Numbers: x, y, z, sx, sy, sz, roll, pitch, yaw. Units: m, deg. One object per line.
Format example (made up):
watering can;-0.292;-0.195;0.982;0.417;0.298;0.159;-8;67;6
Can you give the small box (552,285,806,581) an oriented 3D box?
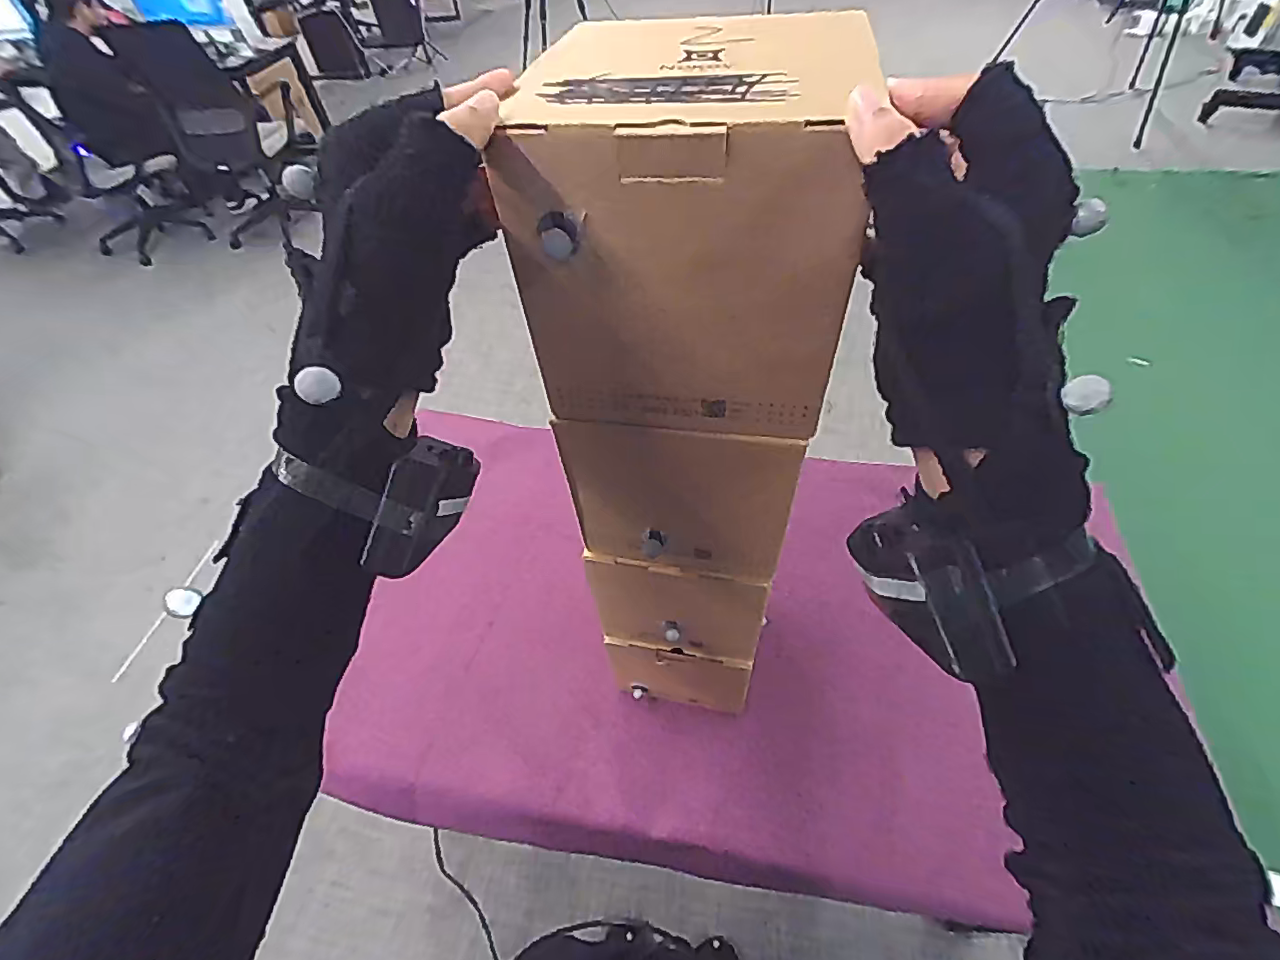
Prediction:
small box;0.041;-0.040;0.460;0.168;0.176;0.179;7;51;11

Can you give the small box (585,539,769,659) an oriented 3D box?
small box;0.051;0.067;0.583;0.168;0.176;0.179;7;52;11

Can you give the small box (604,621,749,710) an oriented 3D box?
small box;0.062;0.178;0.703;0.168;0.176;0.179;7;51;11
